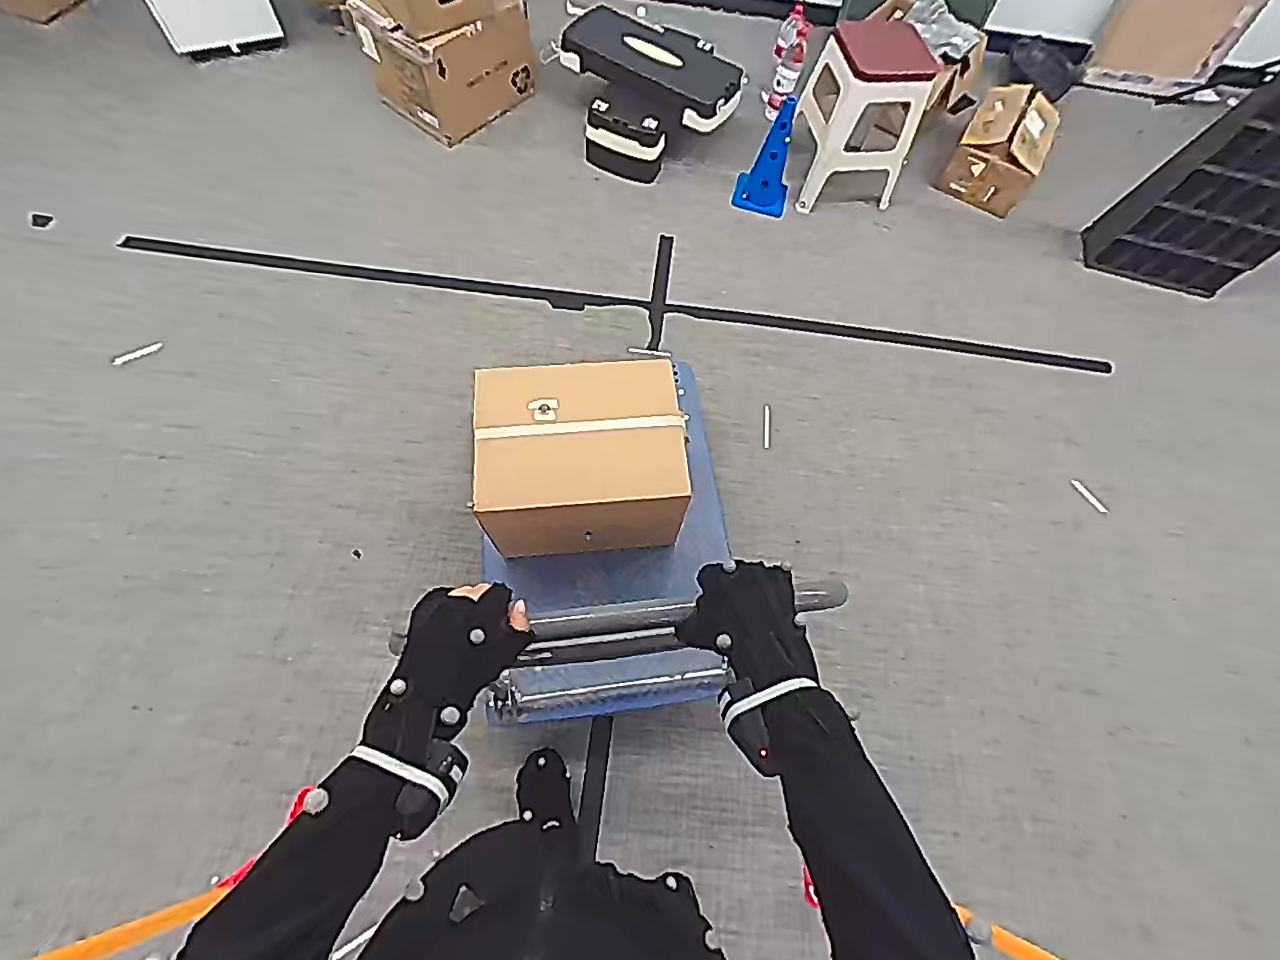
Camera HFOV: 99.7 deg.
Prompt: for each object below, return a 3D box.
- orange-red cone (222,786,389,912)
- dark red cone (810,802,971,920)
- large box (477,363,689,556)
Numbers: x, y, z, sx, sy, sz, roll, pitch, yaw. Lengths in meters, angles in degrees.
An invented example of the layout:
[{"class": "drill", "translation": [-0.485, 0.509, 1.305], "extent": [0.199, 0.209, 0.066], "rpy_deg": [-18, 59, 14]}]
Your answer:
[{"class": "orange-red cone", "translation": [-0.642, 0.703, 0.990], "extent": [0.198, 0.360, 0.199], "rpy_deg": [15, 64, 1]}, {"class": "dark red cone", "translation": [0.489, 0.762, 1.038], "extent": [0.201, 0.394, 0.202], "rpy_deg": [8, 65, -3]}, {"class": "large box", "translation": [-0.123, -0.031, 1.202], "extent": [0.408, 0.320, 0.320], "rpy_deg": [-5, 66, -4]}]
